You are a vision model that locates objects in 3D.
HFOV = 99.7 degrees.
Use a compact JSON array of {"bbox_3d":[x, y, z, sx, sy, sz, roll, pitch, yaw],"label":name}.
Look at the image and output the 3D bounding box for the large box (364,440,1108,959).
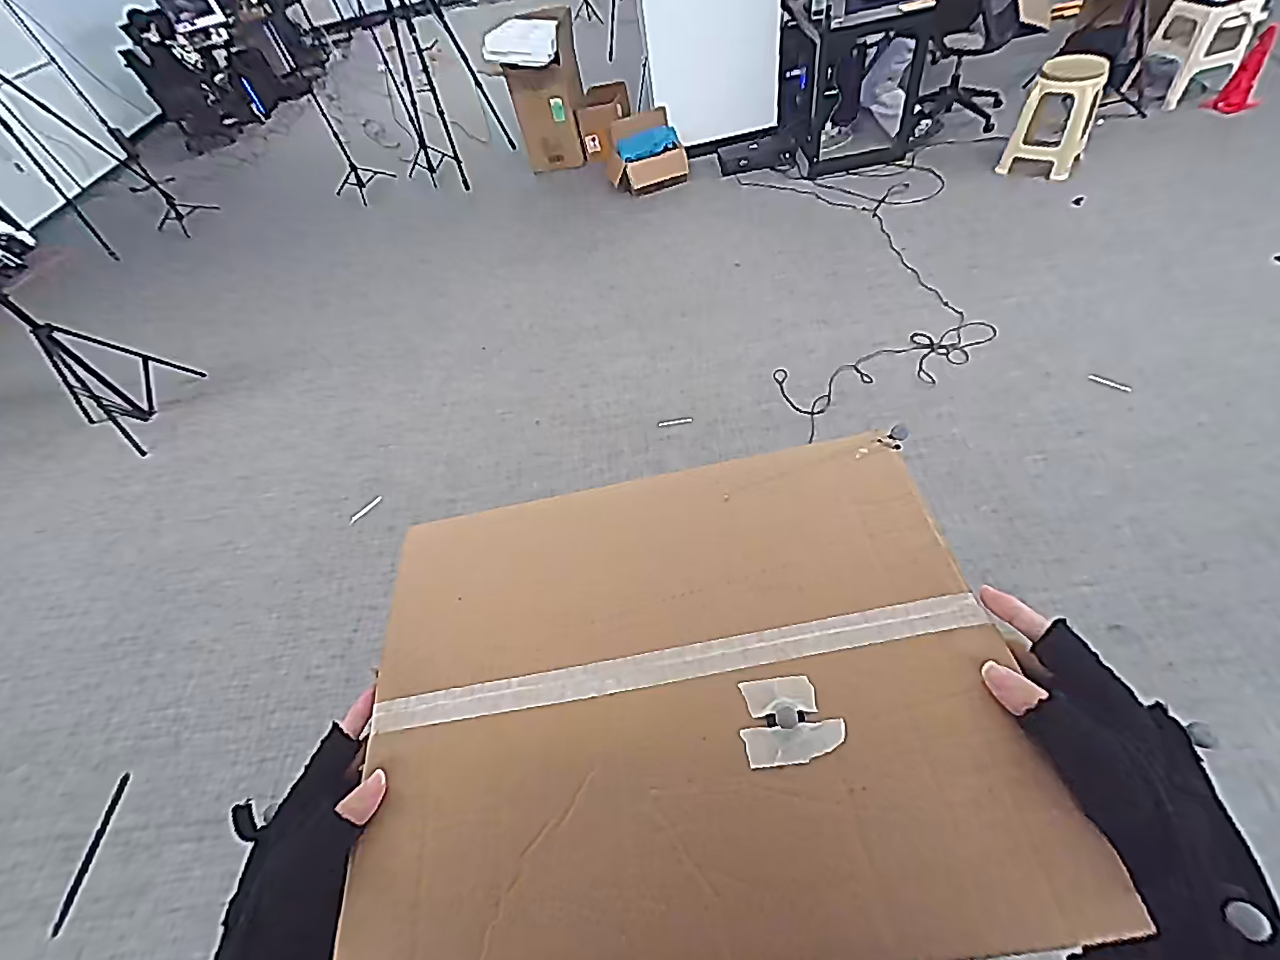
[{"bbox_3d":[0.047,0.213,0.486,0.408,0.320,0.320,-11,53,4],"label":"large box"}]
